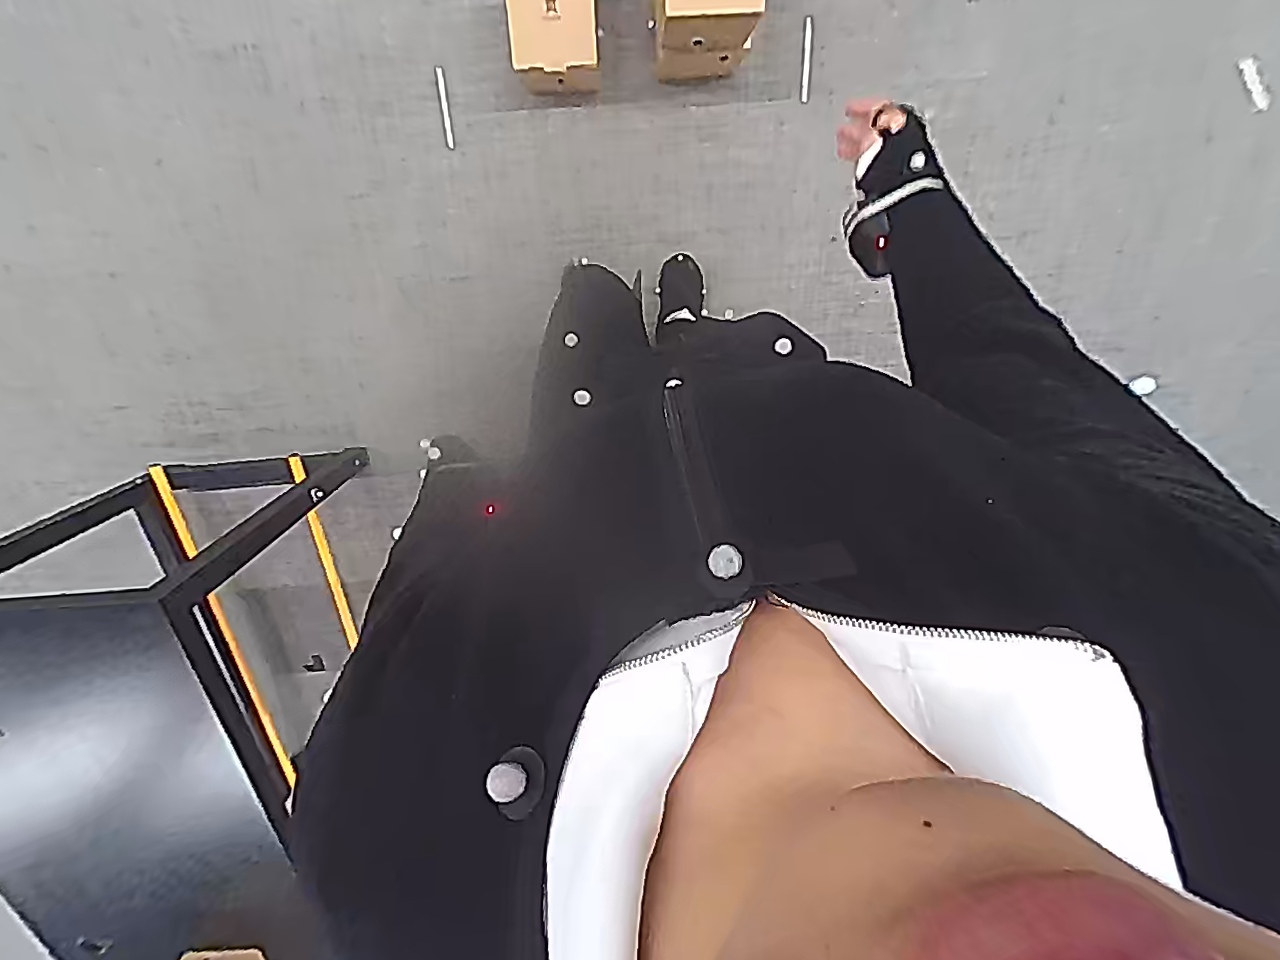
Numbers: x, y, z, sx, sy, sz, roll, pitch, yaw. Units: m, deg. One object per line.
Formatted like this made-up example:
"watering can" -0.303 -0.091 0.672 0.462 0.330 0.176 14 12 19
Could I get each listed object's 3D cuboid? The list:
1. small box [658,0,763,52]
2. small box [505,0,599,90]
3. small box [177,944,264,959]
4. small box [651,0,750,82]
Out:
"small box" 0.116 -0.873 0.932 0.168 0.176 0.179 -3 114 0
"small box" -0.171 -0.905 1.086 0.168 0.176 0.179 -2 114 -1
"small box" -0.909 1.120 1.133 0.168 0.176 0.179 -3 112 0
"small box" 0.117 -0.926 1.086 0.179 0.176 0.168 -5 113 0
